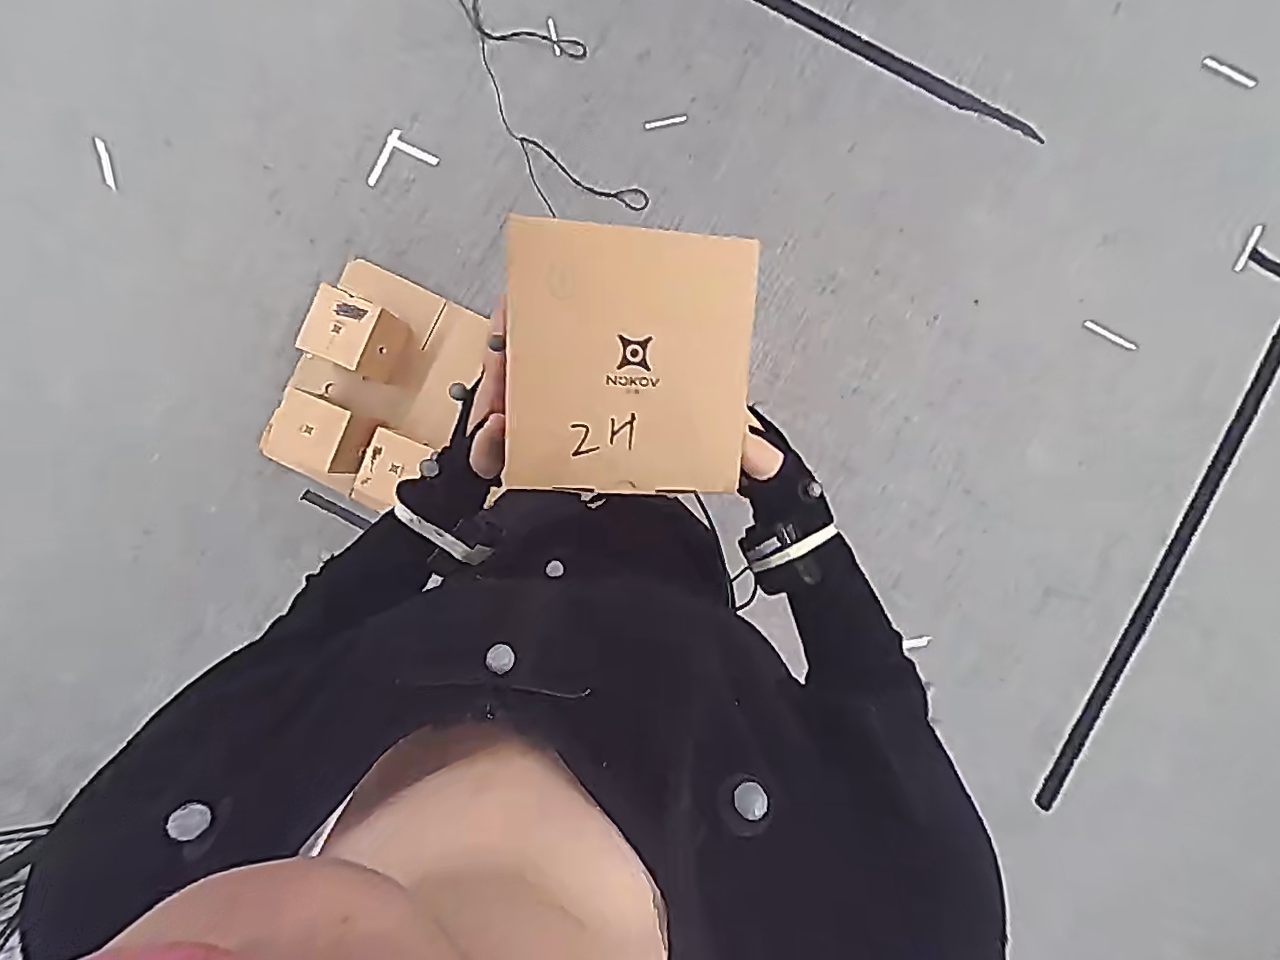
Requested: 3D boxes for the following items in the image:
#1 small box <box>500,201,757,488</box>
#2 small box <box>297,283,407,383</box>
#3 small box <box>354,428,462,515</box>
[{"bbox_3d":[-0.020,-0.095,0.431,0.168,0.176,0.179,1,100,-9],"label":"small box"},{"bbox_3d":[-0.736,-0.374,1.405,0.168,0.176,0.179,23,89,1],"label":"small box"},{"bbox_3d":[-0.586,-0.021,1.394,0.179,0.176,0.168,22,88,0],"label":"small box"}]
